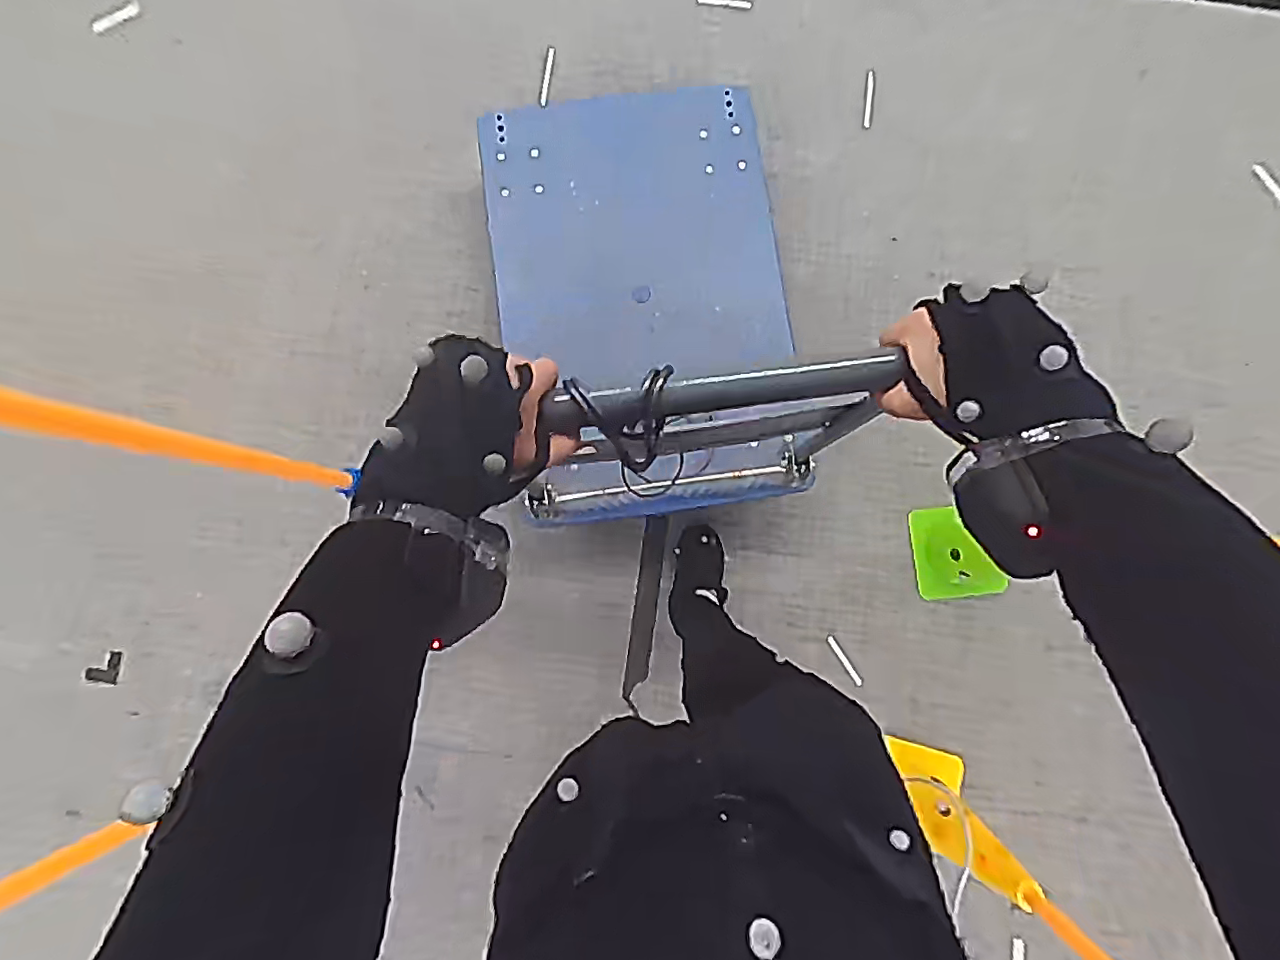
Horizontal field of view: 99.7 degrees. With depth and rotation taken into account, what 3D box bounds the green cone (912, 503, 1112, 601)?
[{"bbox_3d":[0.708,0.139,1.018,0.200,0.368,0.202,-6,84,-1],"label":"green cone"}]
